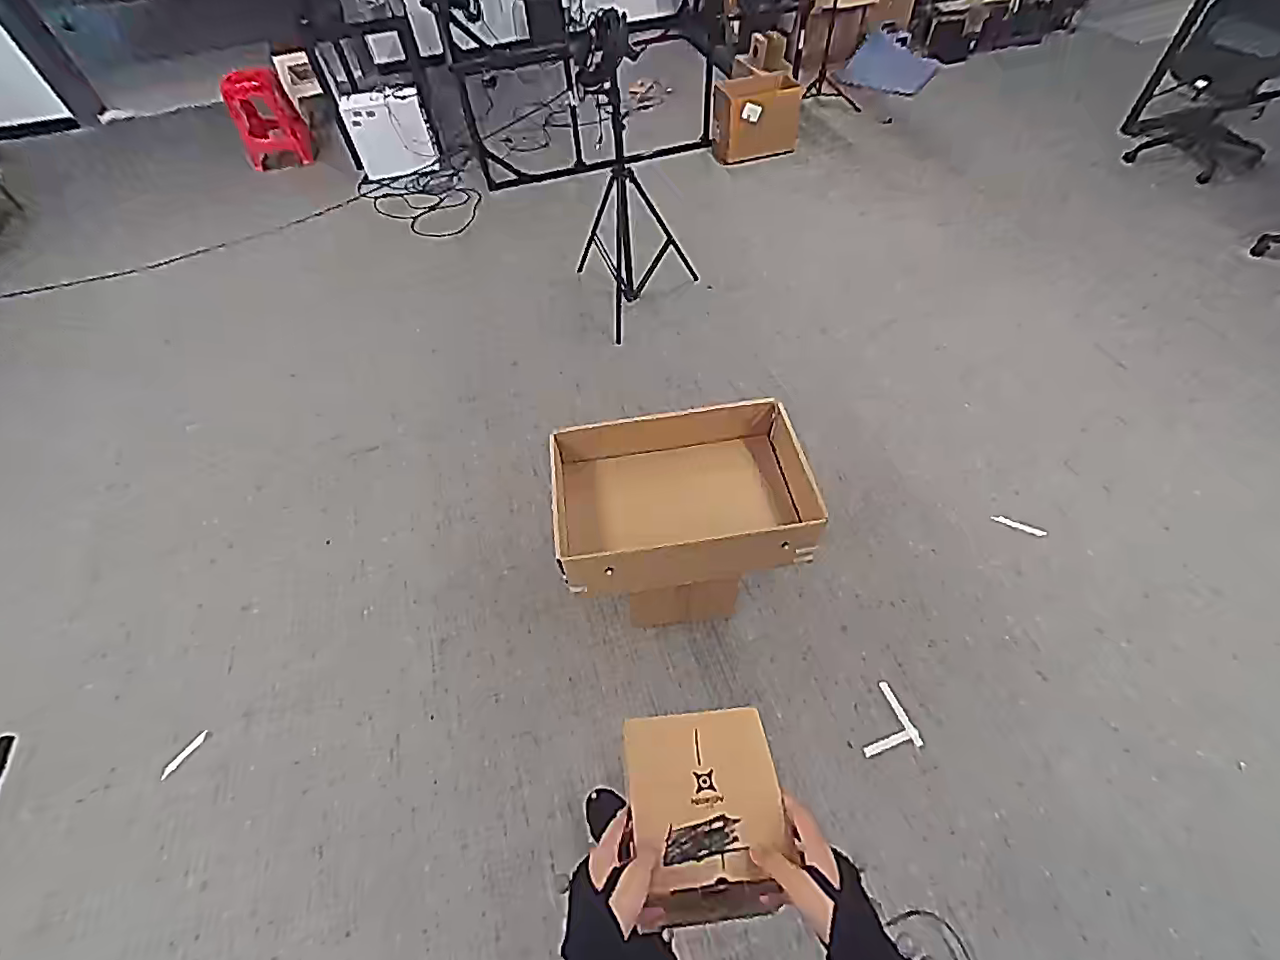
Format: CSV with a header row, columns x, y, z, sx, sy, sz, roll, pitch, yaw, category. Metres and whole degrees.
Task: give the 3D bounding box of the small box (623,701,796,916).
x,y,z,sx,sy,sz,roll,pitch,yaw,category
0.069,0.392,0.643,0.168,0.176,0.179,-4,40,-4,small box
